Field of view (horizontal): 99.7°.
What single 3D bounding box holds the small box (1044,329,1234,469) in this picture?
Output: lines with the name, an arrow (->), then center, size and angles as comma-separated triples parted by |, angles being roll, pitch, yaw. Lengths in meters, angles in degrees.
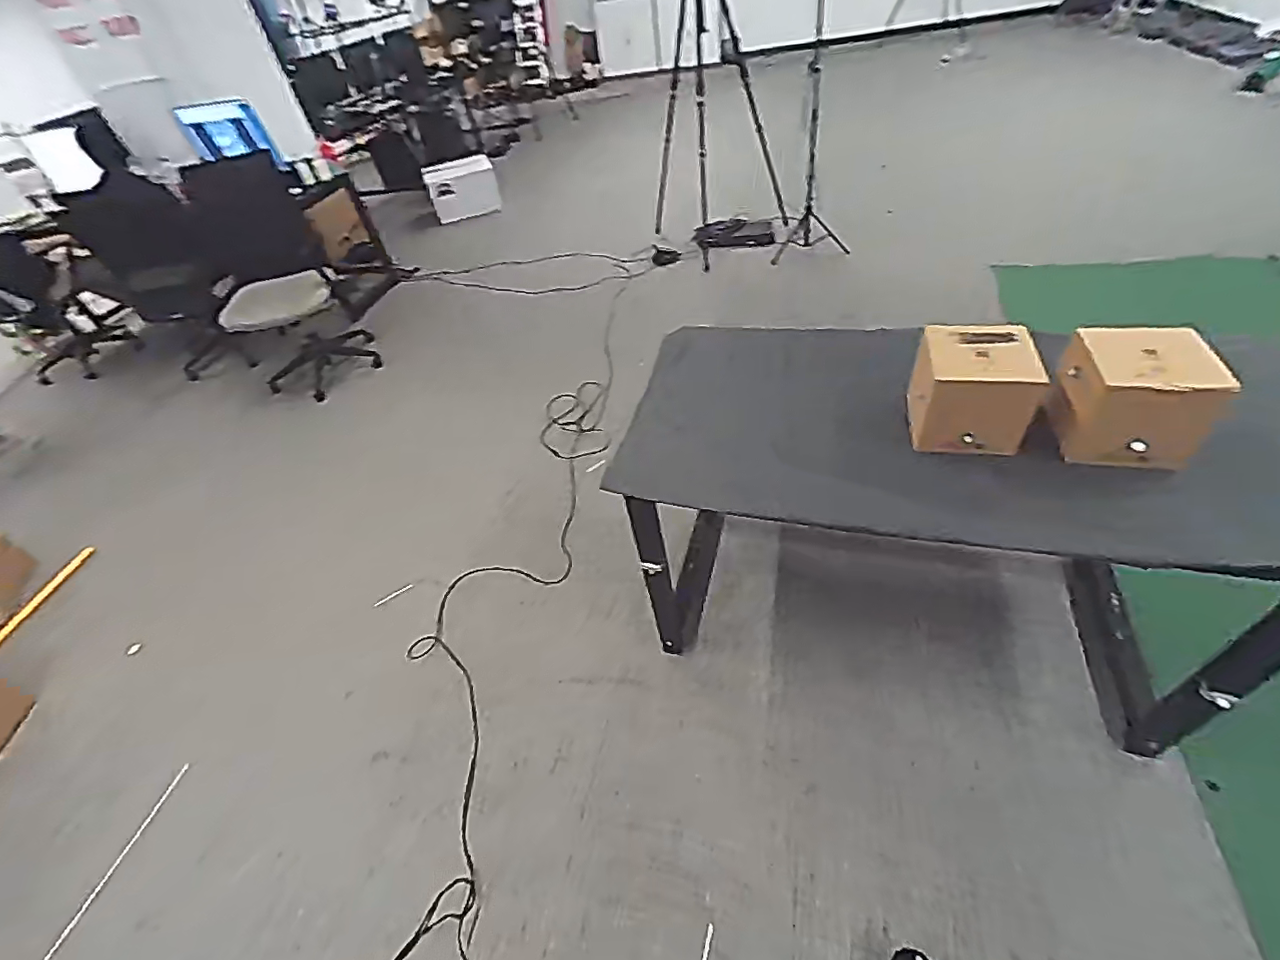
small box -> 0.832, -0.142, 0.929 | 0.168, 0.176, 0.179 | 4, 46, 17
